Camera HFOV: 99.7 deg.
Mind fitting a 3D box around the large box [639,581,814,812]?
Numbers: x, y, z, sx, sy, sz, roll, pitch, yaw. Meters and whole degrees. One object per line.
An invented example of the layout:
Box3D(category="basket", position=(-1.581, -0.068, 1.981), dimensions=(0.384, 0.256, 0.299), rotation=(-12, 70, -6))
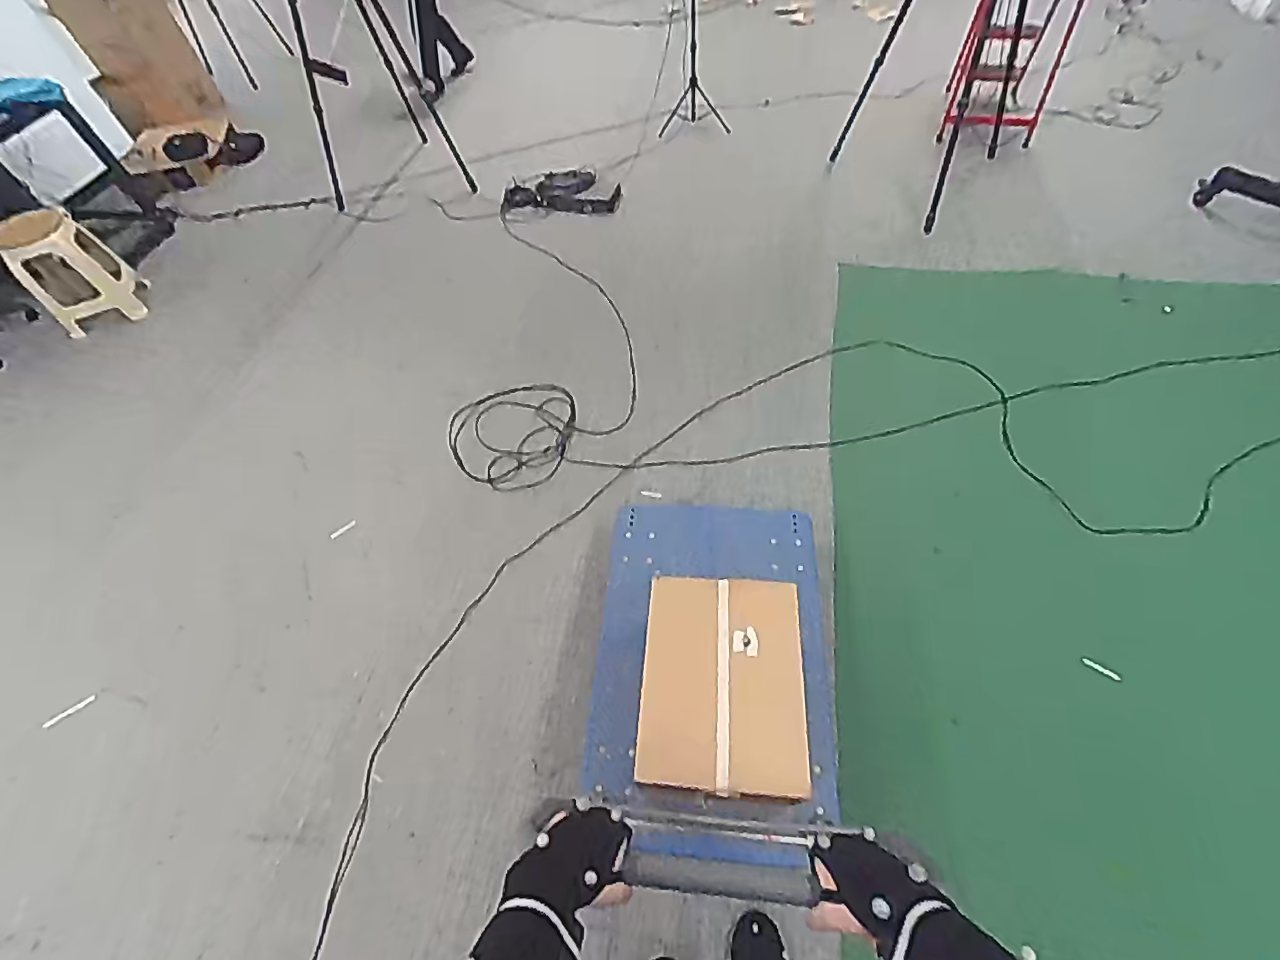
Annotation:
Box3D(category="large box", position=(0.178, 0.476, 1.186), dimensions=(0.320, 0.320, 0.408), rotation=(2, 54, 6))
